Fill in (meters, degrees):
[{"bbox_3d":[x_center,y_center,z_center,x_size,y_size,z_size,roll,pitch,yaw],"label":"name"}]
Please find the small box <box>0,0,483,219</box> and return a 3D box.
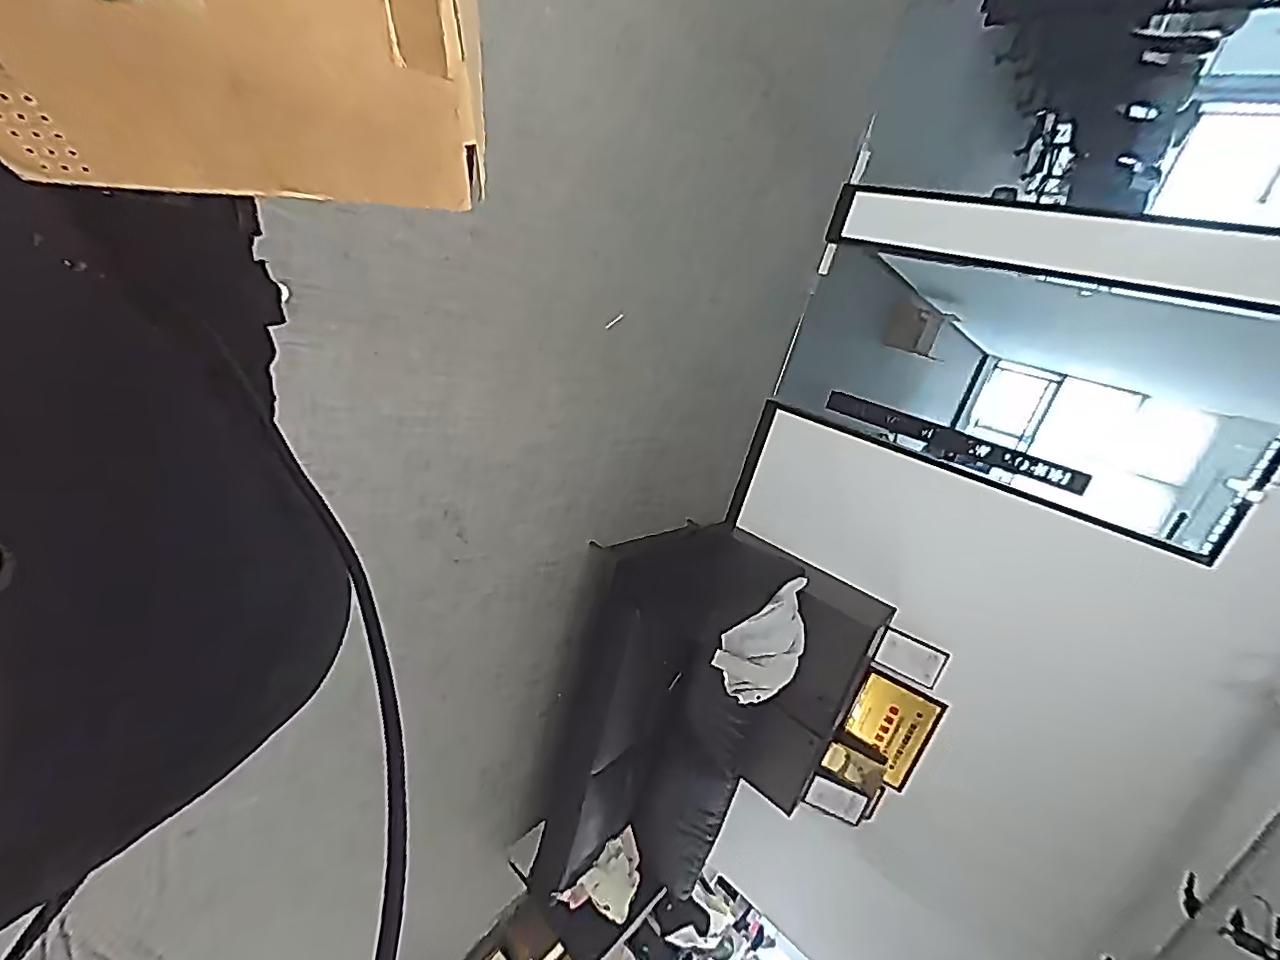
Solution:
[{"bbox_3d":[-0.150,-0.220,0.182,0.176,0.179,0.168,-1,157,-12],"label":"small box"}]
